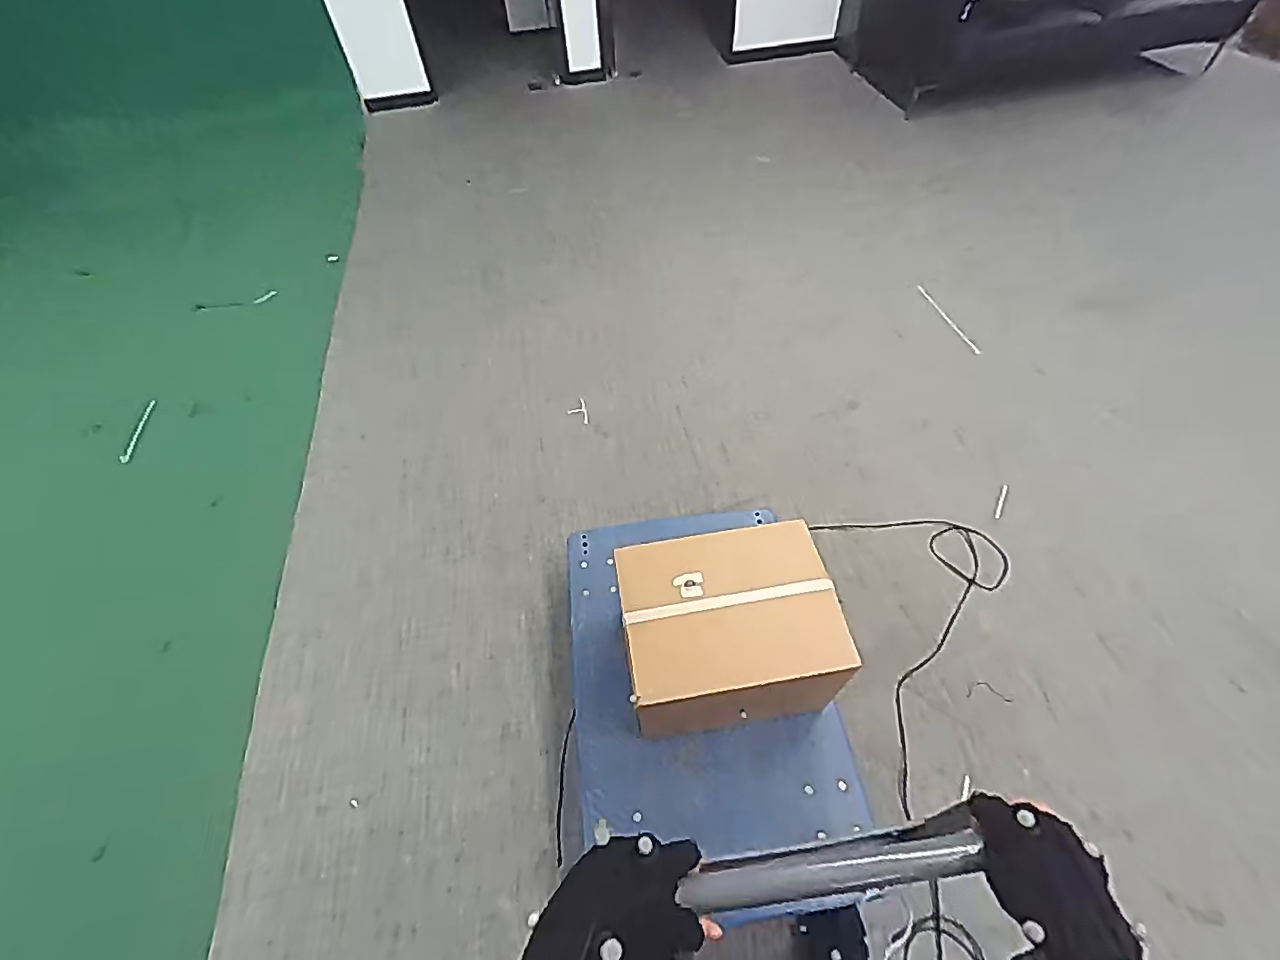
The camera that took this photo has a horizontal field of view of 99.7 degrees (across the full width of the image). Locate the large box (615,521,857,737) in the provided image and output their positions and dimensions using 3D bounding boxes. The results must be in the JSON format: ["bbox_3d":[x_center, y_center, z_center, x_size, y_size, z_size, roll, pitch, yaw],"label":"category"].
[{"bbox_3d":[0.180,0.327,1.157,0.408,0.320,0.320,-10,53,-2],"label":"large box"}]
